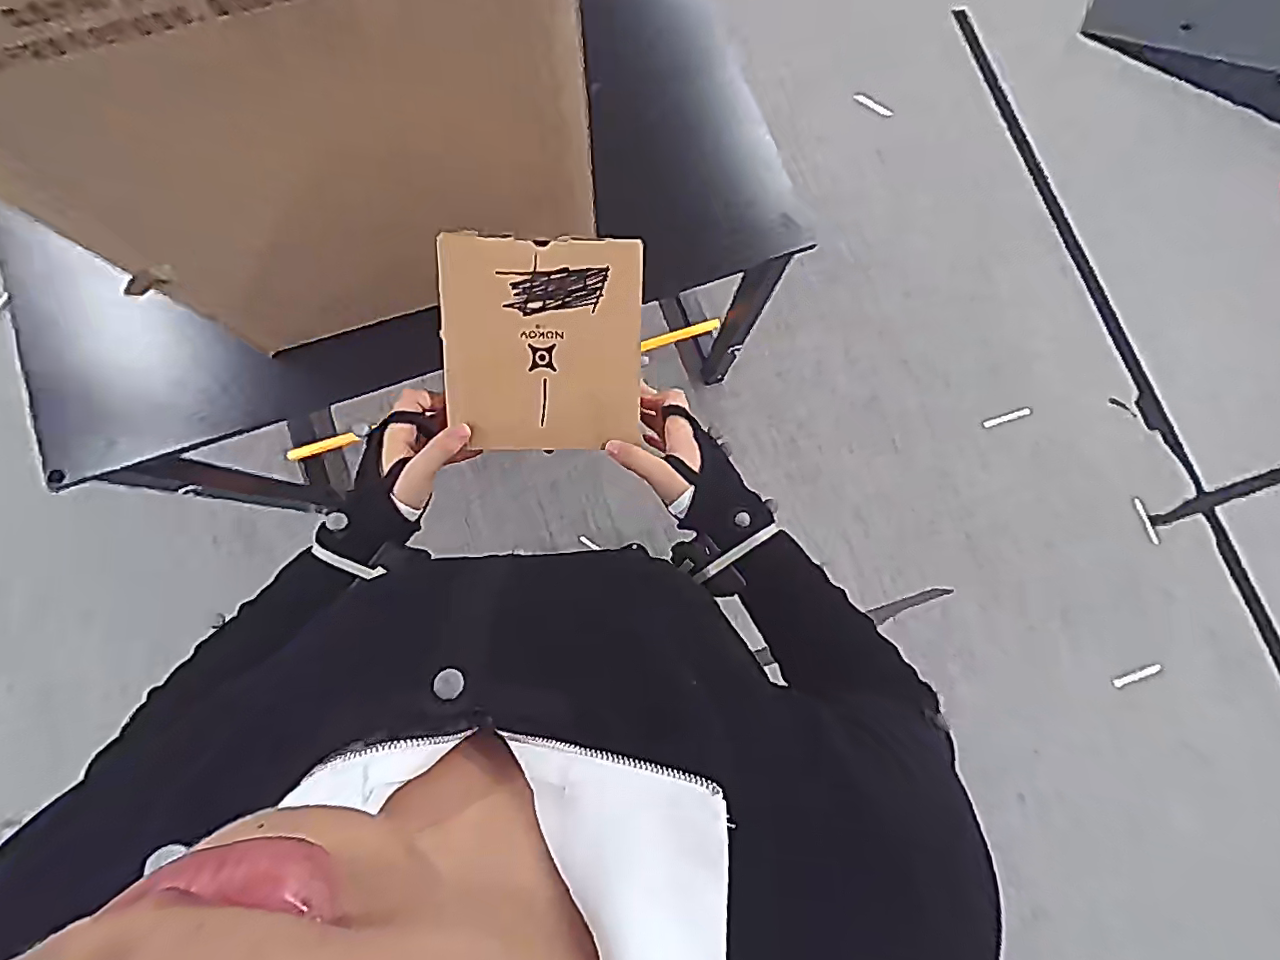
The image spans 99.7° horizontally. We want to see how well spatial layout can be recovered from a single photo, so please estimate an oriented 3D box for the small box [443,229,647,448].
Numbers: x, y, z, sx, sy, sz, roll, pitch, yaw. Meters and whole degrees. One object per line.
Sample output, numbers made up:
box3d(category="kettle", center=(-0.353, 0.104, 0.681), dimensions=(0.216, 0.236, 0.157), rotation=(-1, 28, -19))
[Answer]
box3d(category="small box", center=(-0.084, -0.126, 0.527), dimensions=(0.168, 0.176, 0.179), rotation=(0, 100, -4))
